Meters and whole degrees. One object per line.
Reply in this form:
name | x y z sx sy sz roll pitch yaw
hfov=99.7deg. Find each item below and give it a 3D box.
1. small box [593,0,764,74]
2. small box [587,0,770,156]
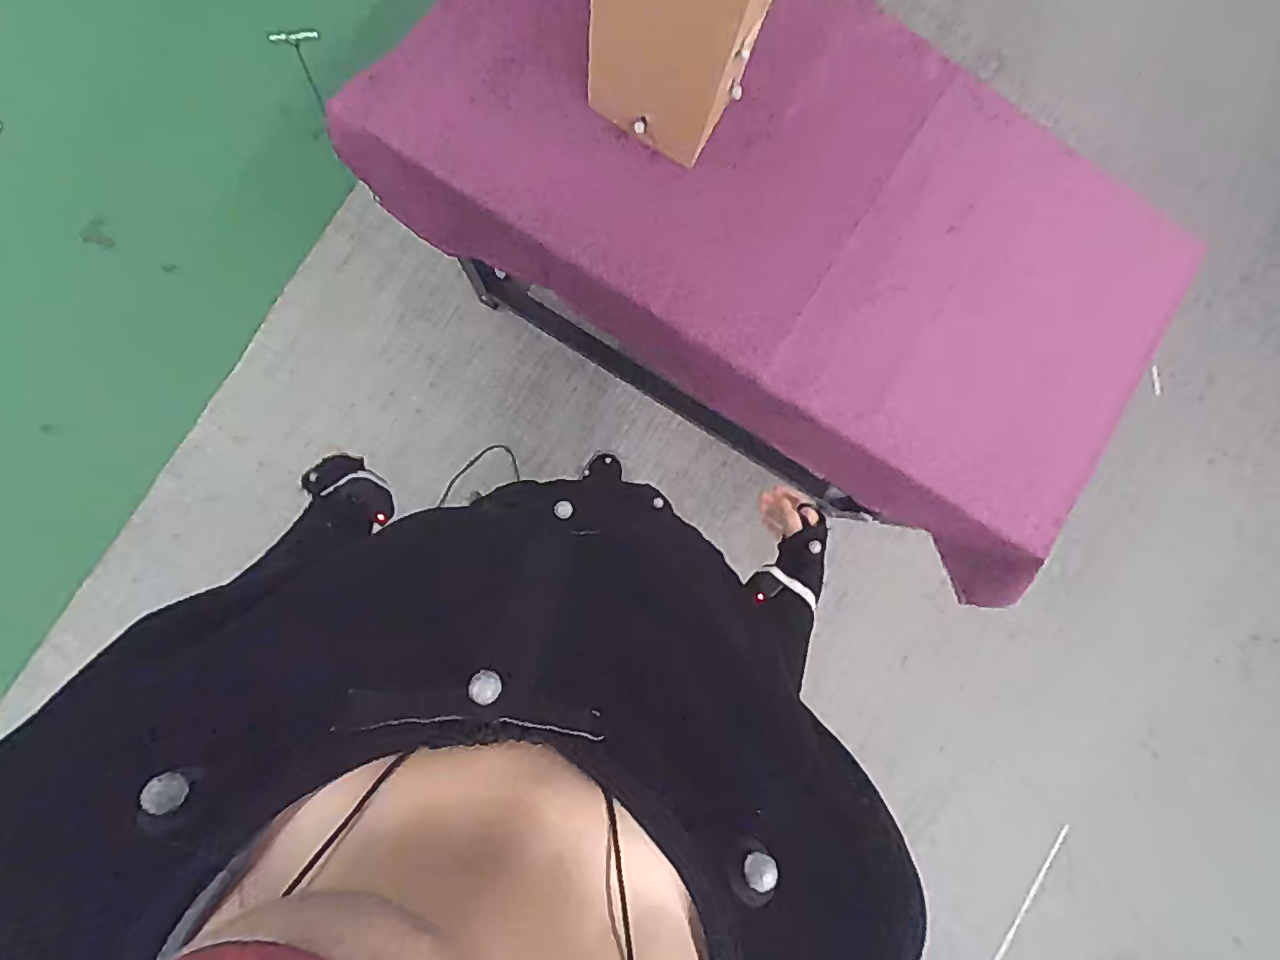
small box | 0.063 -0.575 0.556 0.179 0.176 0.168 29 87 -5
small box | 0.043 -0.576 0.719 0.179 0.176 0.168 29 87 -6
